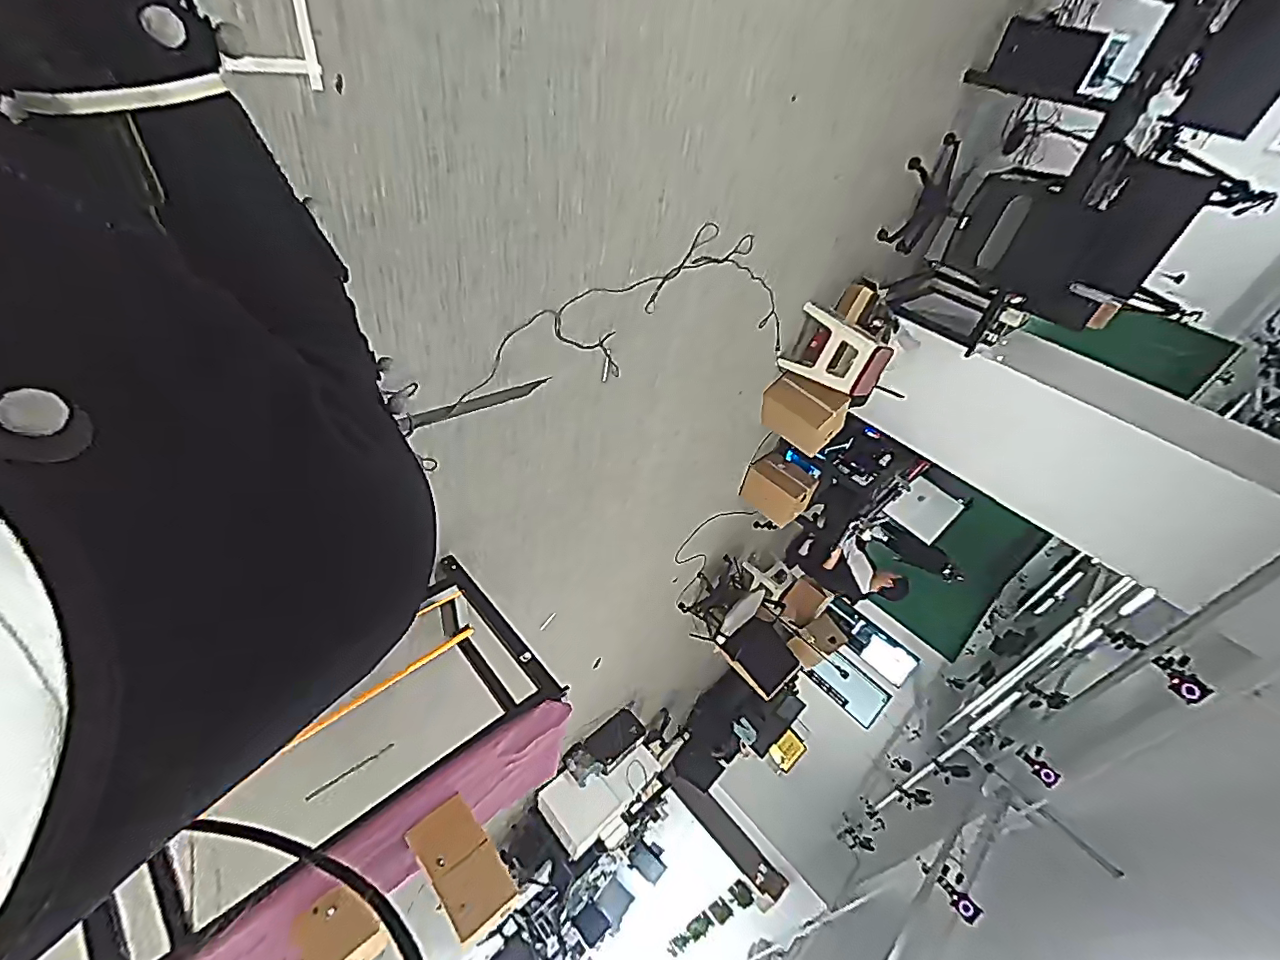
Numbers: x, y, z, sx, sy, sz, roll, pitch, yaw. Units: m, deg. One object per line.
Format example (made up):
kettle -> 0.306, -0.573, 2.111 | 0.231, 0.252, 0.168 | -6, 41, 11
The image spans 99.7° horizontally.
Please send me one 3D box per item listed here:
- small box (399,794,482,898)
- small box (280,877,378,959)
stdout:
small box -> -0.593, 1.083, 1.613 | 0.179, 0.176, 0.168 | -26, 144, -37
small box -> -0.814, 1.197, 1.422 | 0.168, 0.176, 0.179 | -26, 143, -39
